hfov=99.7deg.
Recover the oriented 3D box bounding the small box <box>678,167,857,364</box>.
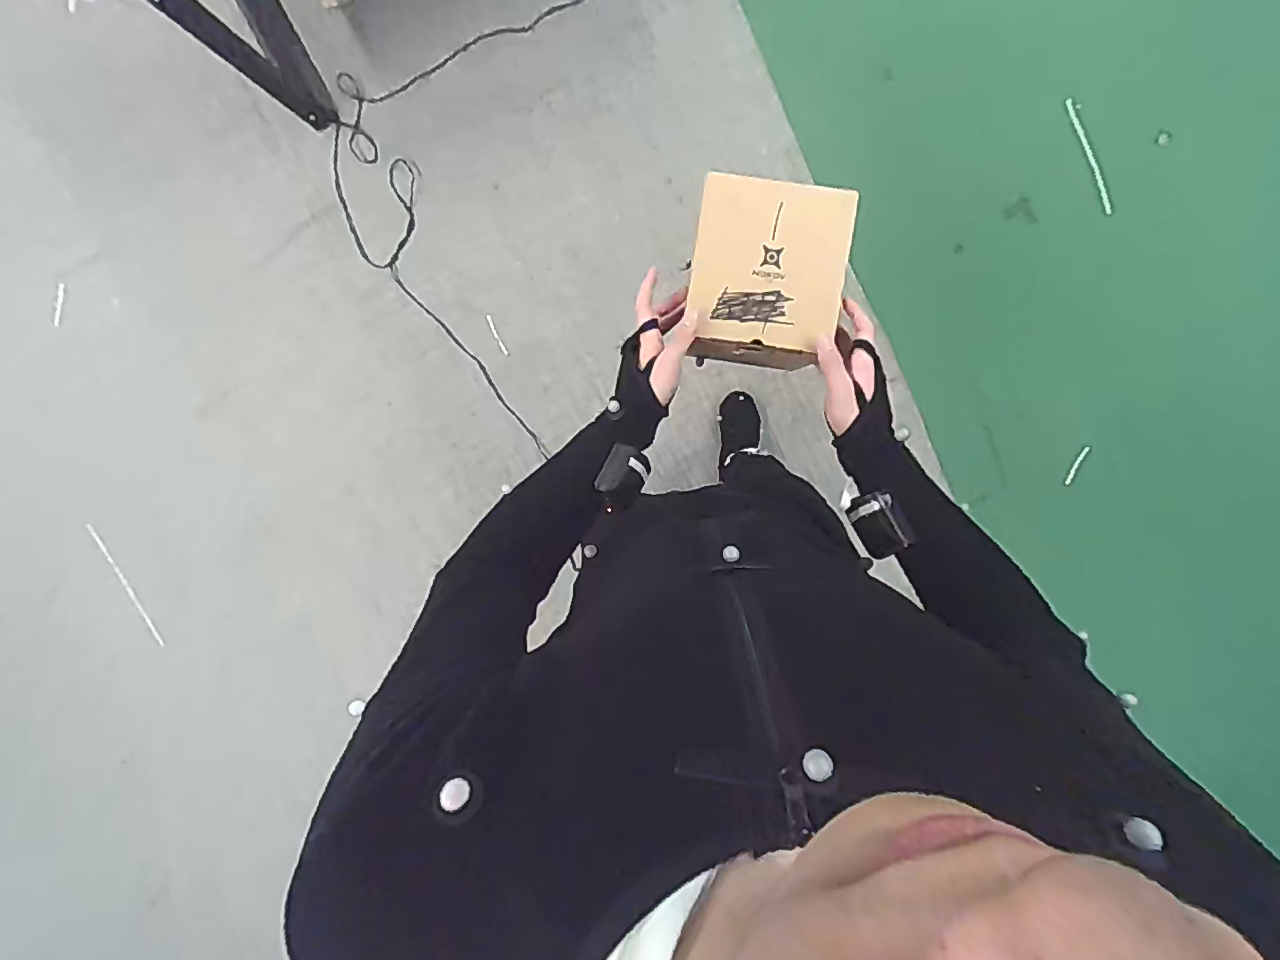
[{"bbox_3d":[0.138,-0.242,0.656,0.168,0.176,0.179,8,96,1],"label":"small box"}]
